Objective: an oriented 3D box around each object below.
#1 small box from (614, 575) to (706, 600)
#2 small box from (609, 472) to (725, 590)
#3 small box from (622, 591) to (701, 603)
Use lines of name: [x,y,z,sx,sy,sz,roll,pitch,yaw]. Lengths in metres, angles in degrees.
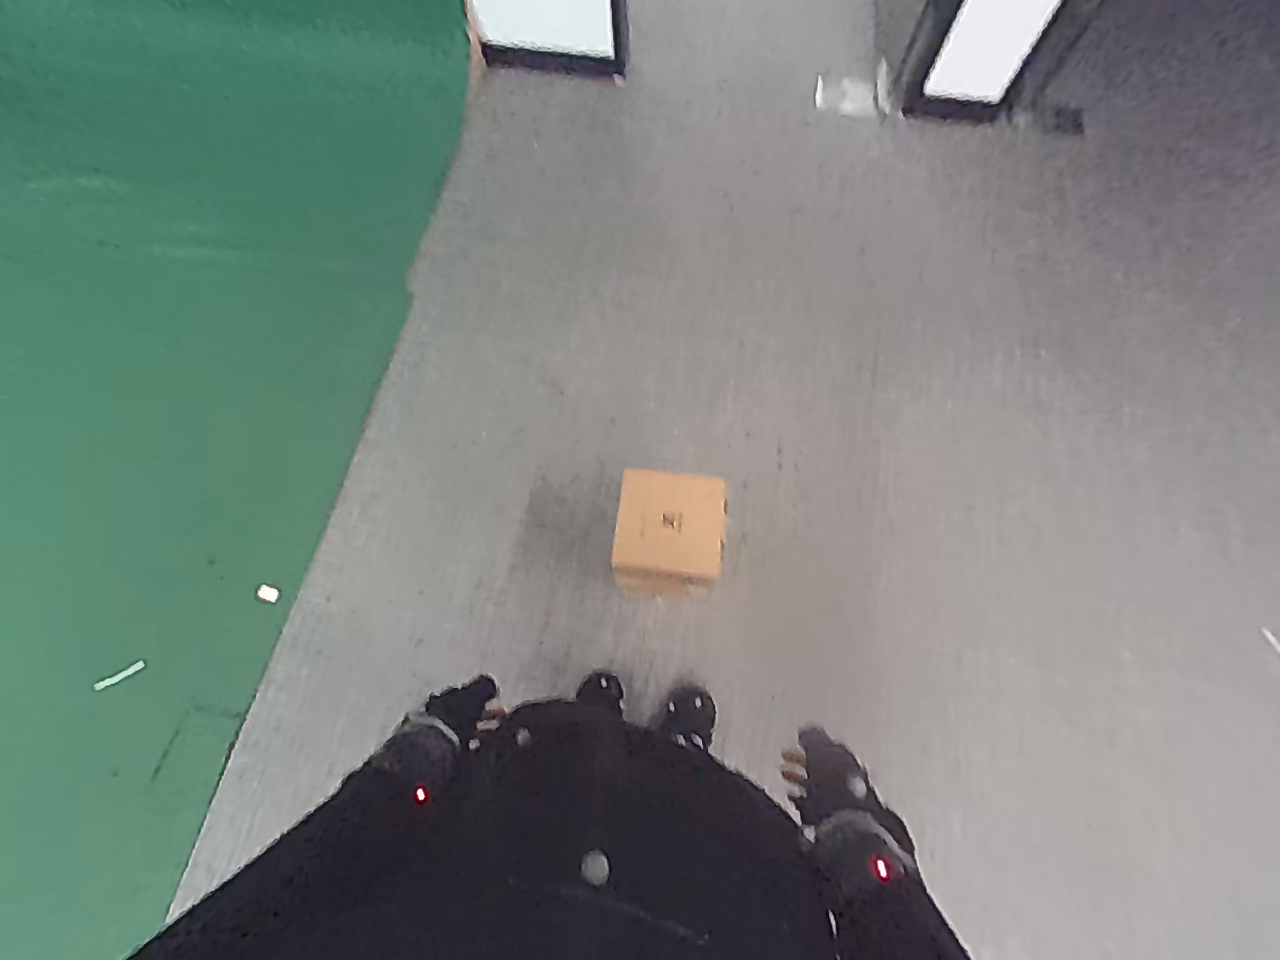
small box: [0.047,0.151,1.111,0.179,0.176,0.168,7,73,3]
small box: [0.048,0.097,0.958,0.179,0.176,0.168,6,72,4]
small box: [0.052,0.196,1.268,0.179,0.176,0.168,2,72,2]
